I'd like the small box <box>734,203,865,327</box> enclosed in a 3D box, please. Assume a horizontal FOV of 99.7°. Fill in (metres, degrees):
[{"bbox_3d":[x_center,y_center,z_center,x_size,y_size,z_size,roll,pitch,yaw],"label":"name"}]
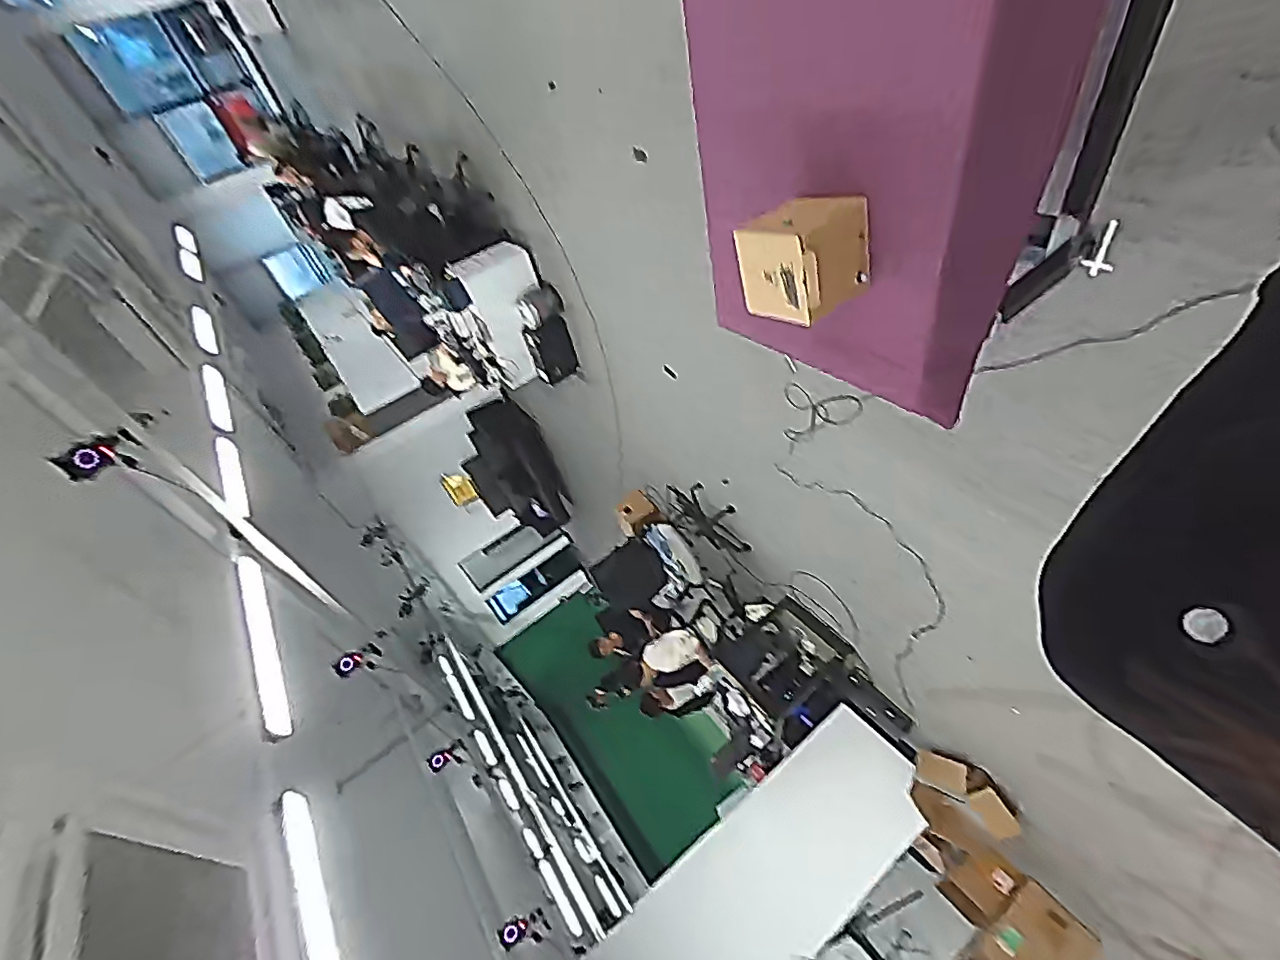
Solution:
[{"bbox_3d":[0.313,-0.417,1.037,0.179,0.176,0.168,35,153,49],"label":"small box"}]
